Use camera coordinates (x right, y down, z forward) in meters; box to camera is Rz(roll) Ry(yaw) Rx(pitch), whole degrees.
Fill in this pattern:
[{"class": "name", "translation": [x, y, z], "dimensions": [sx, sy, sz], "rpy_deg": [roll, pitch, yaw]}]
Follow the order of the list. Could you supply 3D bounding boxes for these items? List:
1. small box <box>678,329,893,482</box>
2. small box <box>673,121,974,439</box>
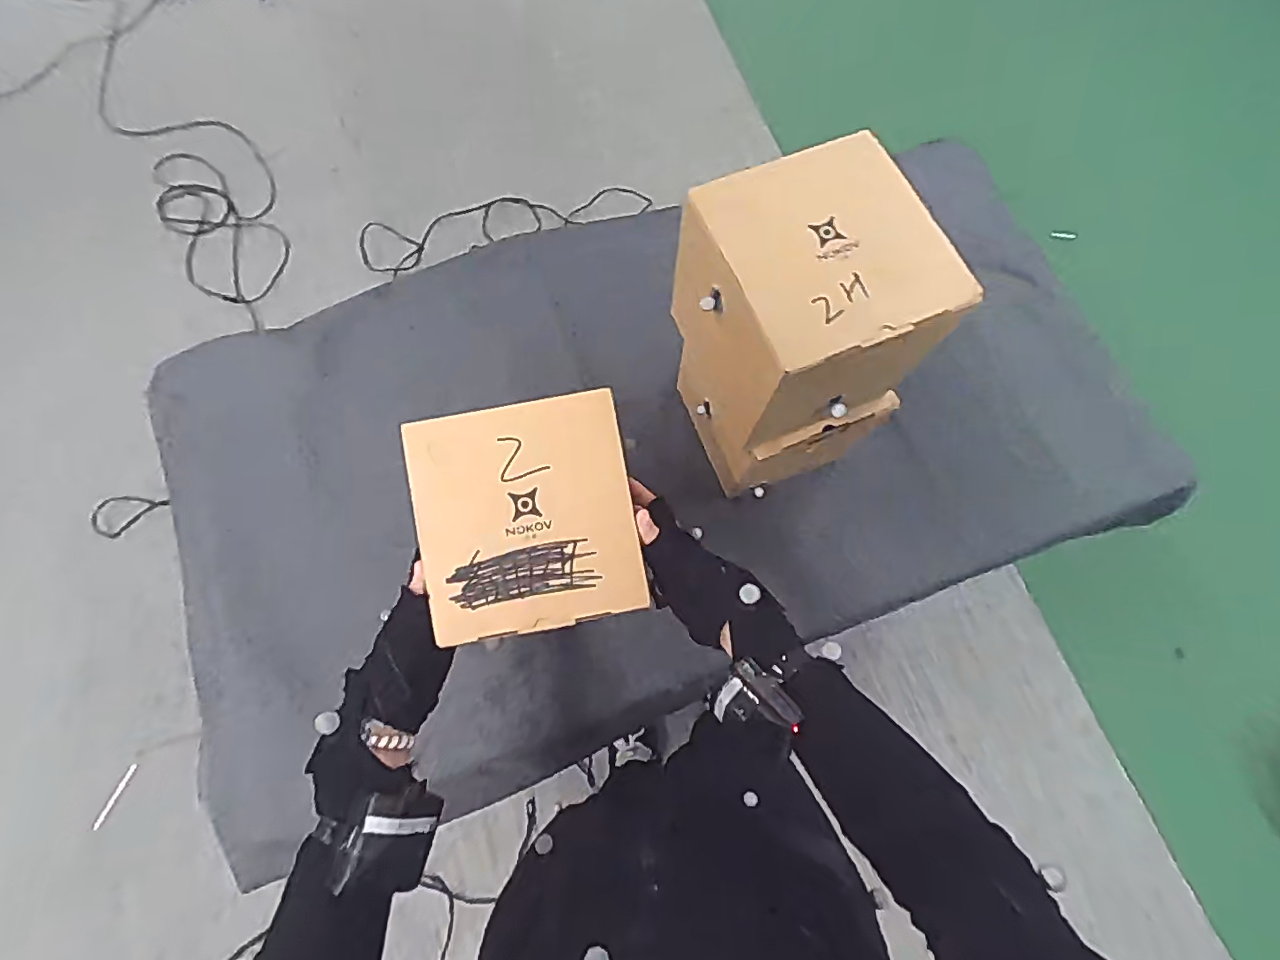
[{"class": "small box", "translation": [0.153, -0.110, 0.639], "dimensions": [0.168, 0.176, 0.179], "rpy_deg": [-21, 75, -6]}, {"class": "small box", "translation": [0.137, -0.163, 0.483], "dimensions": [0.168, 0.176, 0.179], "rpy_deg": [-23, 76, -6]}]
